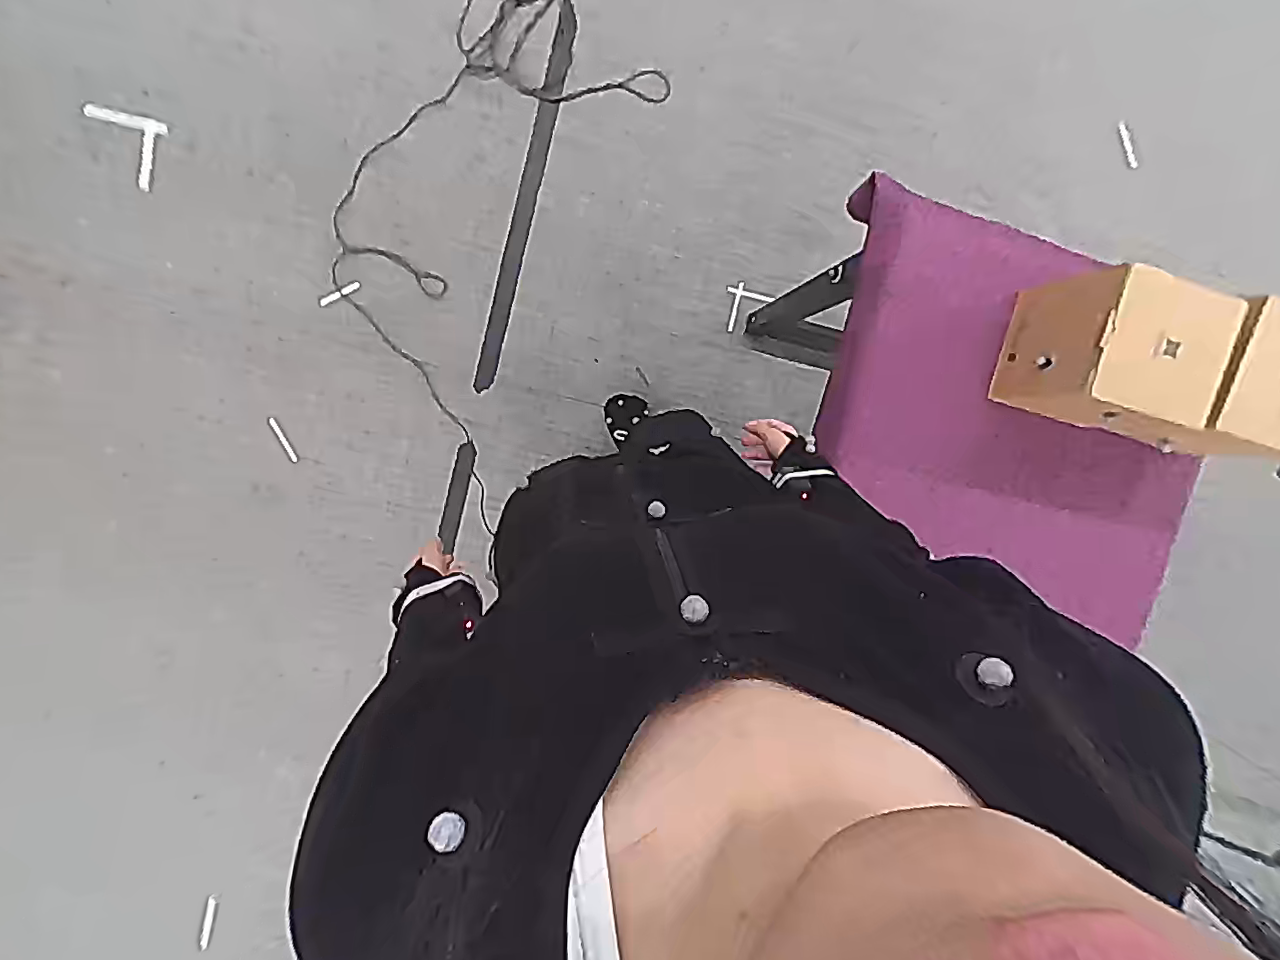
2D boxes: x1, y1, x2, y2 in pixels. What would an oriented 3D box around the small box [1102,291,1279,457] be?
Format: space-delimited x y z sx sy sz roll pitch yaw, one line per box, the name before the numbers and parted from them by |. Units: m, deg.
small box | 0.815 -0.140 0.763 0.168 0.176 0.179 16 96 -7
